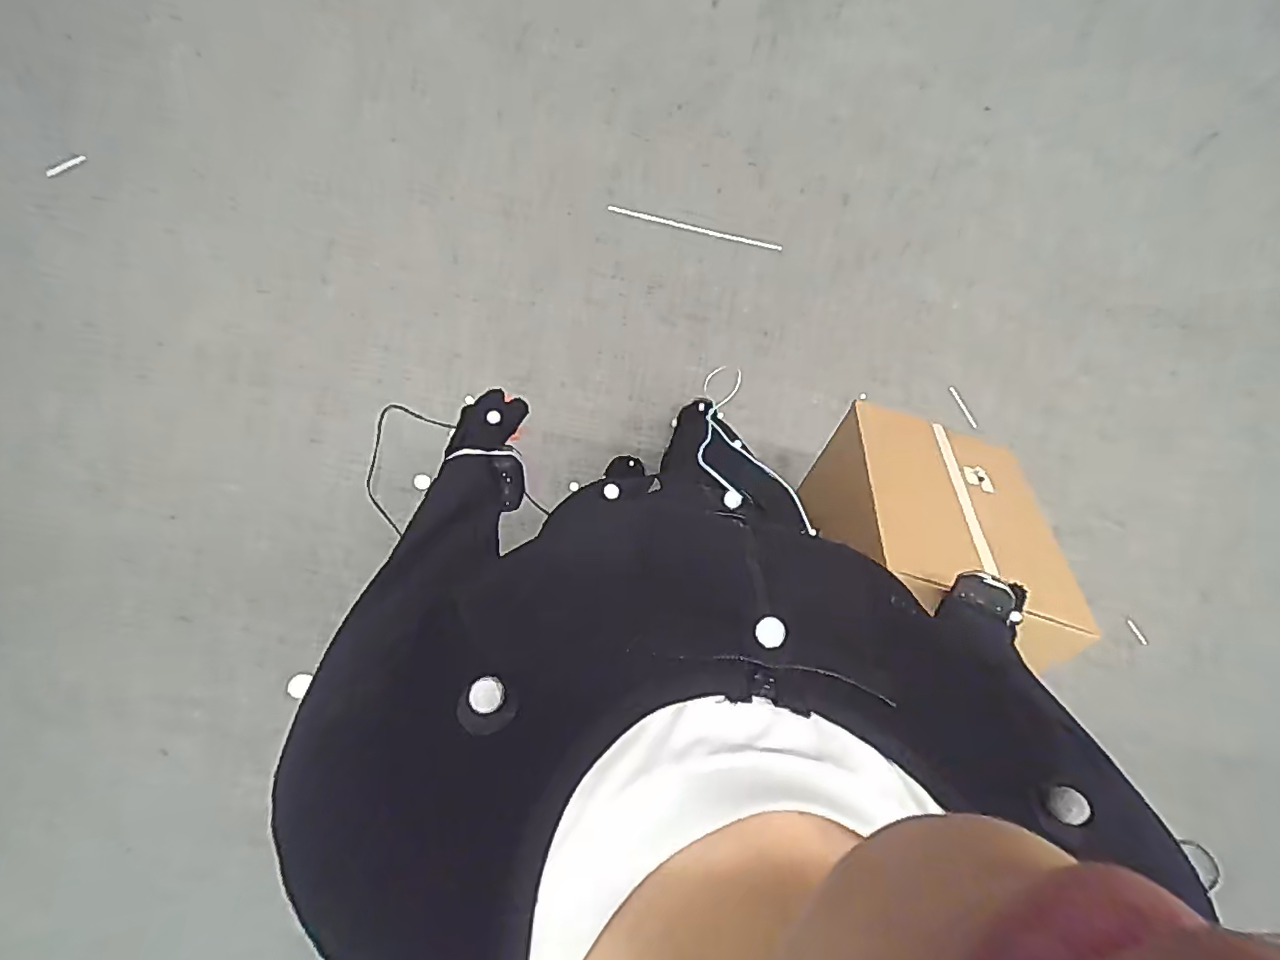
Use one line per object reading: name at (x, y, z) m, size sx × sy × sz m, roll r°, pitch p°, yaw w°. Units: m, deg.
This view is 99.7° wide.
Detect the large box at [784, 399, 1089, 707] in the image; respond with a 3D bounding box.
large box at (0.469, 0.127, 0.976) m, size 0.320 × 0.408 × 0.320 m, roll 18°, pitch 134°, yaw -3°
